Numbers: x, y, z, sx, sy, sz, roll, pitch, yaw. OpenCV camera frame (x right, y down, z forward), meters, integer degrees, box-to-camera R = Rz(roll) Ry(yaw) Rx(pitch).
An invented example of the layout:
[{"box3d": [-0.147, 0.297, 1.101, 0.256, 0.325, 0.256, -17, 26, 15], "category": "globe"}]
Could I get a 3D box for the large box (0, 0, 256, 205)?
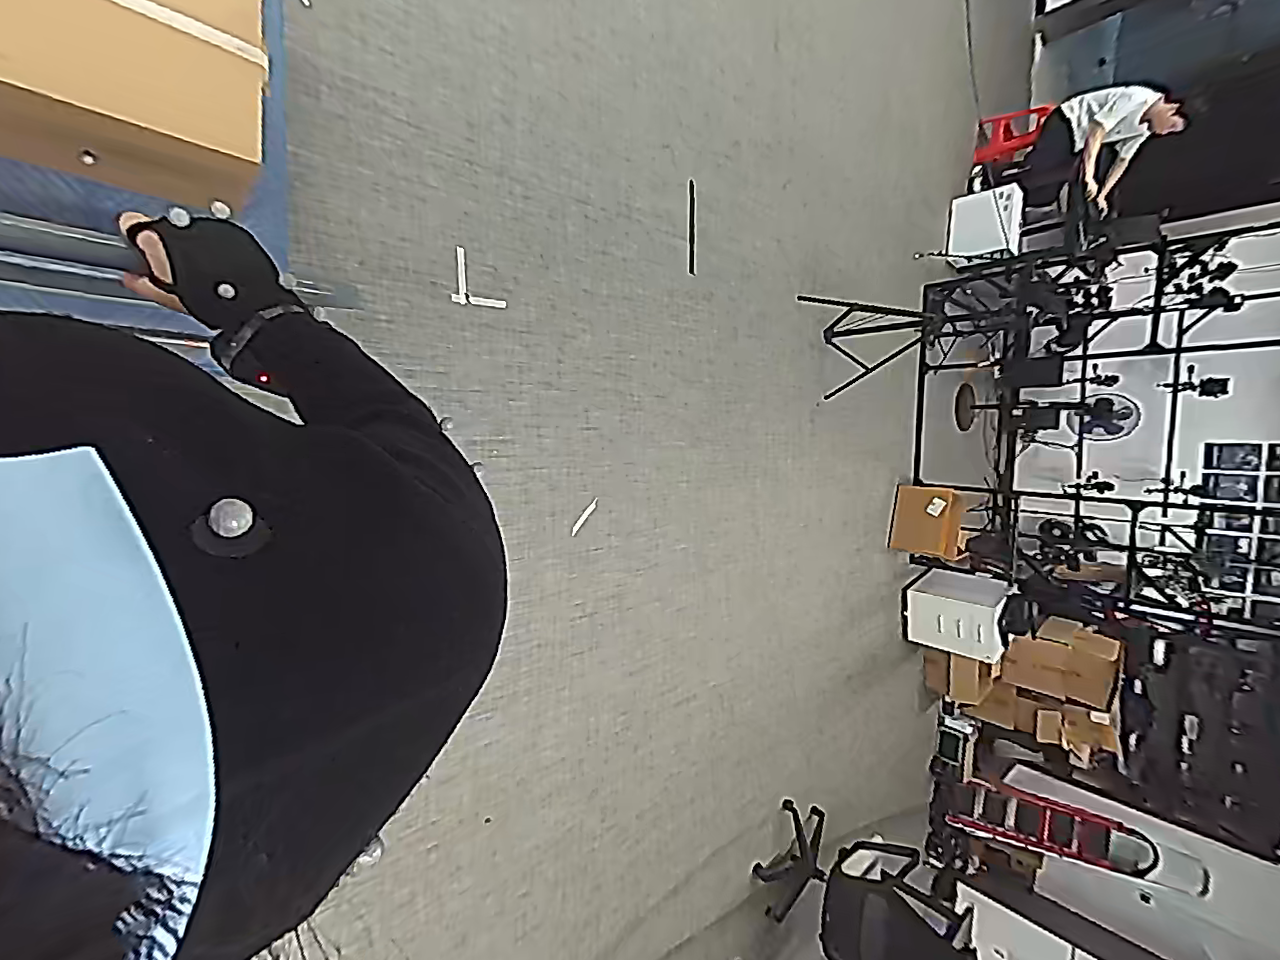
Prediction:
[{"box3d": [-0.846, -0.670, 0.818, 0.408, 0.320, 0.320, -1, 95, -42], "category": "large box"}]
